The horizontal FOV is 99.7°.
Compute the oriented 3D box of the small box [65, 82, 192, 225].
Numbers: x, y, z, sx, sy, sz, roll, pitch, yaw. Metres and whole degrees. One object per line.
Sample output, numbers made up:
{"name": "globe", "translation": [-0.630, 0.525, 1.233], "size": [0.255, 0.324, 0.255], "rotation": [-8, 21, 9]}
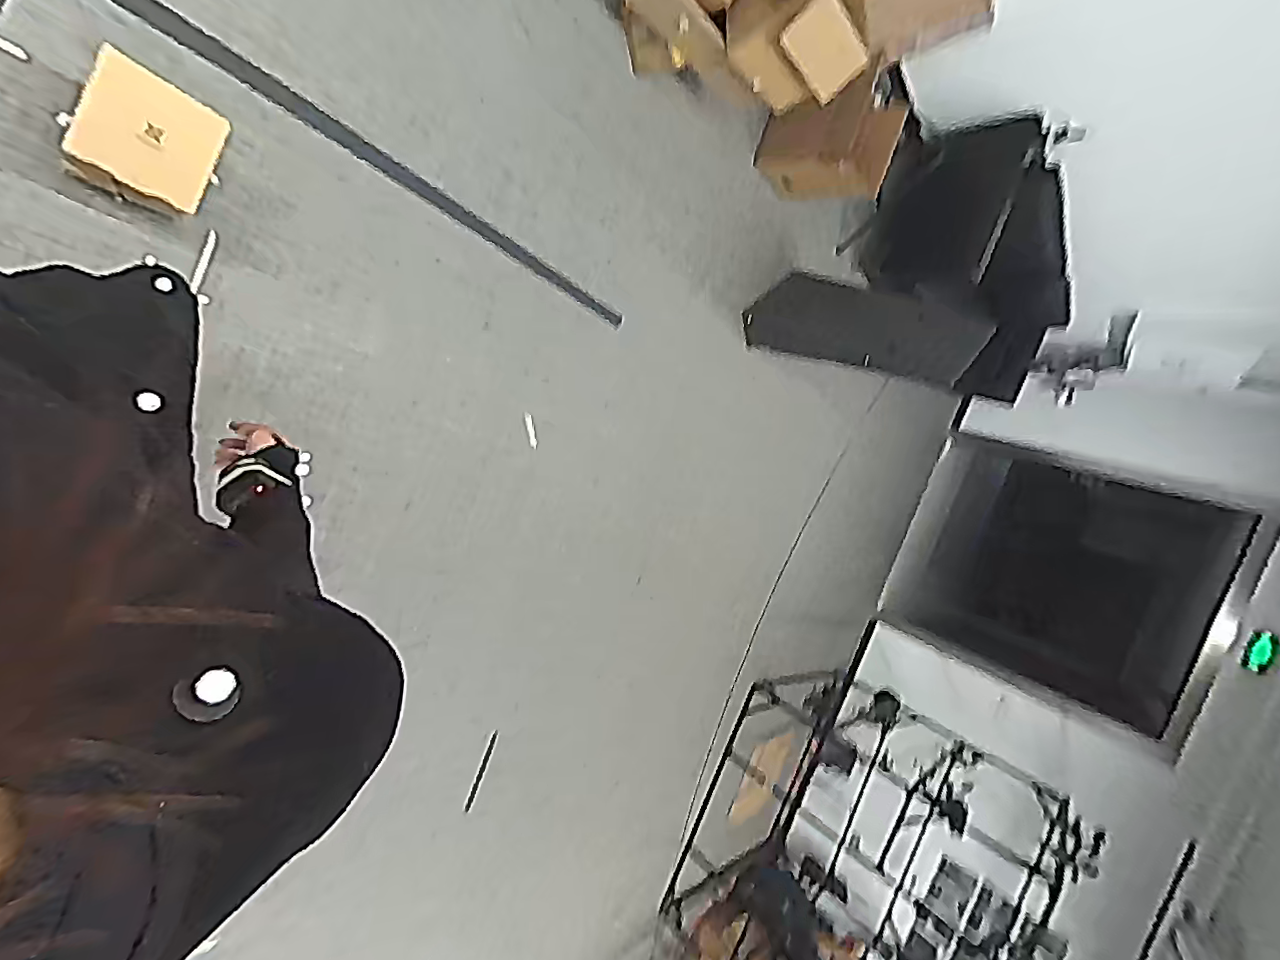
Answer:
{"name": "small box", "translation": [-0.963, -0.617, 1.042], "size": [0.179, 0.176, 0.168], "rotation": [16, 96, -49]}

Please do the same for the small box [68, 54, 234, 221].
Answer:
{"name": "small box", "translation": [-0.848, -0.578, 0.934], "size": [0.168, 0.176, 0.179], "rotation": [23, 92, -50]}
